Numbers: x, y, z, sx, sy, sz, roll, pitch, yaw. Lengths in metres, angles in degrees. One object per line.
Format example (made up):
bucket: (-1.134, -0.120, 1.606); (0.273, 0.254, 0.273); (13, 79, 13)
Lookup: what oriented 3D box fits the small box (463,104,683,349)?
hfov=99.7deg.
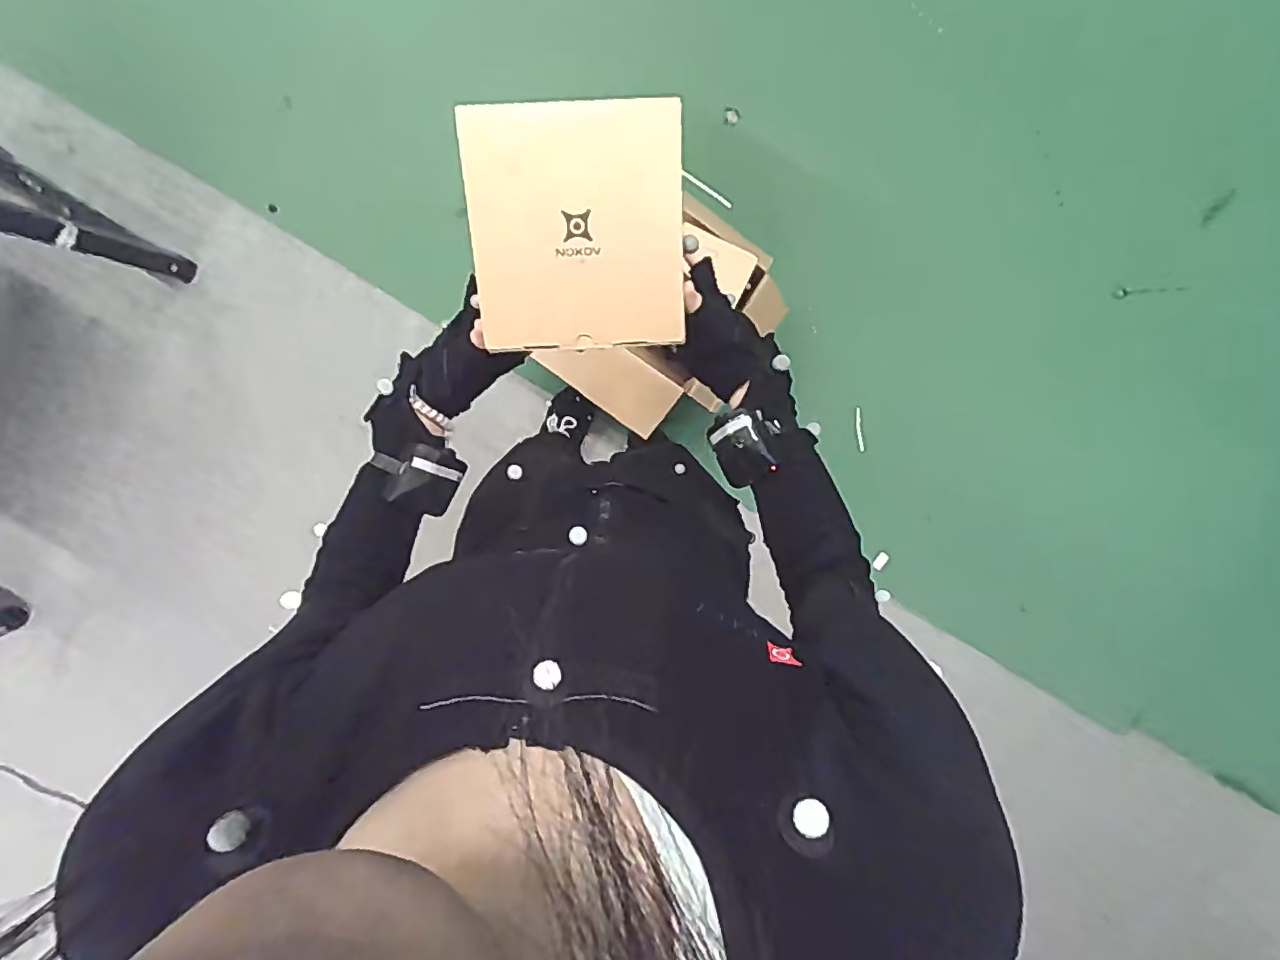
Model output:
small box: (-0.052, -0.221, 0.503); (0.168, 0.176, 0.179); (-3, 110, -2)
